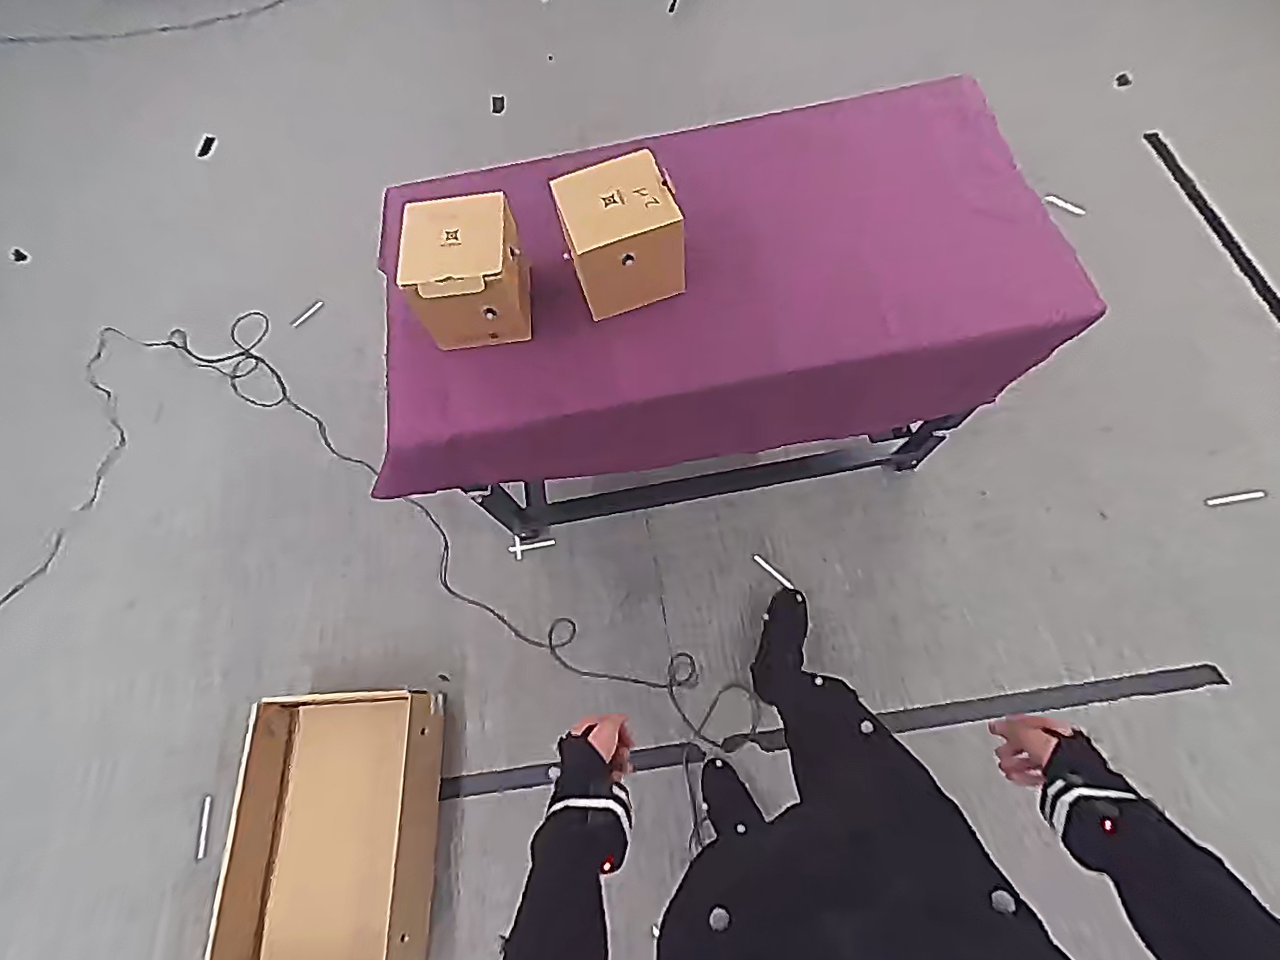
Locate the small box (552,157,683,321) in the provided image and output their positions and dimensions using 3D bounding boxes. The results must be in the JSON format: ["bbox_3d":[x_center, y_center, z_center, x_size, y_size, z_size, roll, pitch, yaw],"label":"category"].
[{"bbox_3d":[-0.031,-0.403,0.926,0.179,0.176,0.168,-19,69,-3],"label":"small box"}]

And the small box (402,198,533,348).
[{"bbox_3d":[-0.285,-0.343,0.927,0.168,0.176,0.179,-6,68,2],"label":"small box"}]
